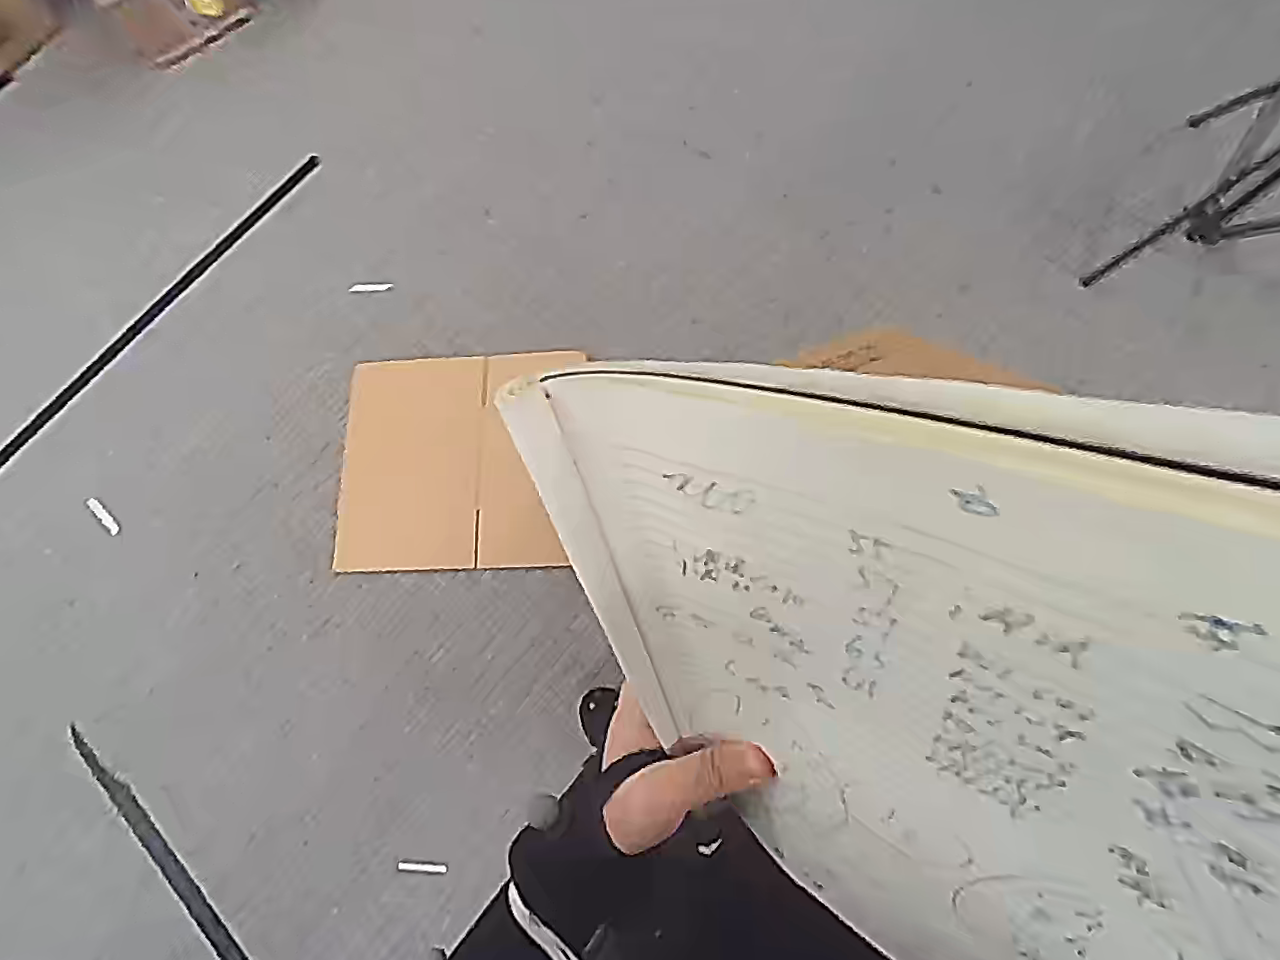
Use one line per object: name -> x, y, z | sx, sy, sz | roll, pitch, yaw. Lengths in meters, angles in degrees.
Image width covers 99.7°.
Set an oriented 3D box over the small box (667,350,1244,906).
small box -> 0.131, 0.046, 0.273 | 0.168, 0.179, 0.176 | -23, 44, -35
